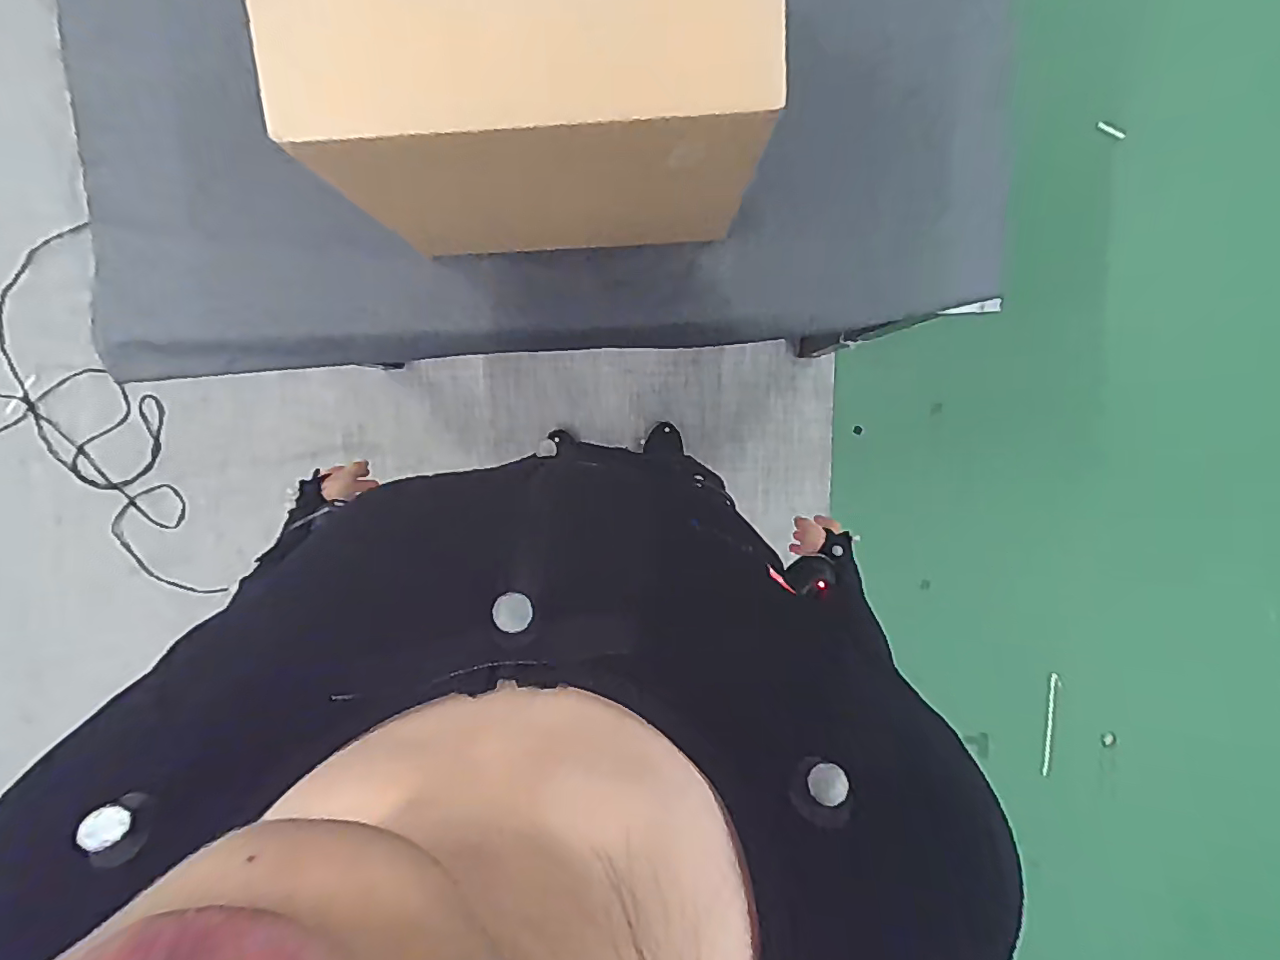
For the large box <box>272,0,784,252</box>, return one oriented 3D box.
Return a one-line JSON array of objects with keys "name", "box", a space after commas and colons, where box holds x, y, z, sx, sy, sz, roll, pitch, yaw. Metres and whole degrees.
[{"name": "large box", "box": [-0.095, -0.453, 0.563, 0.408, 0.320, 0.320, -4, 98, 0]}]
